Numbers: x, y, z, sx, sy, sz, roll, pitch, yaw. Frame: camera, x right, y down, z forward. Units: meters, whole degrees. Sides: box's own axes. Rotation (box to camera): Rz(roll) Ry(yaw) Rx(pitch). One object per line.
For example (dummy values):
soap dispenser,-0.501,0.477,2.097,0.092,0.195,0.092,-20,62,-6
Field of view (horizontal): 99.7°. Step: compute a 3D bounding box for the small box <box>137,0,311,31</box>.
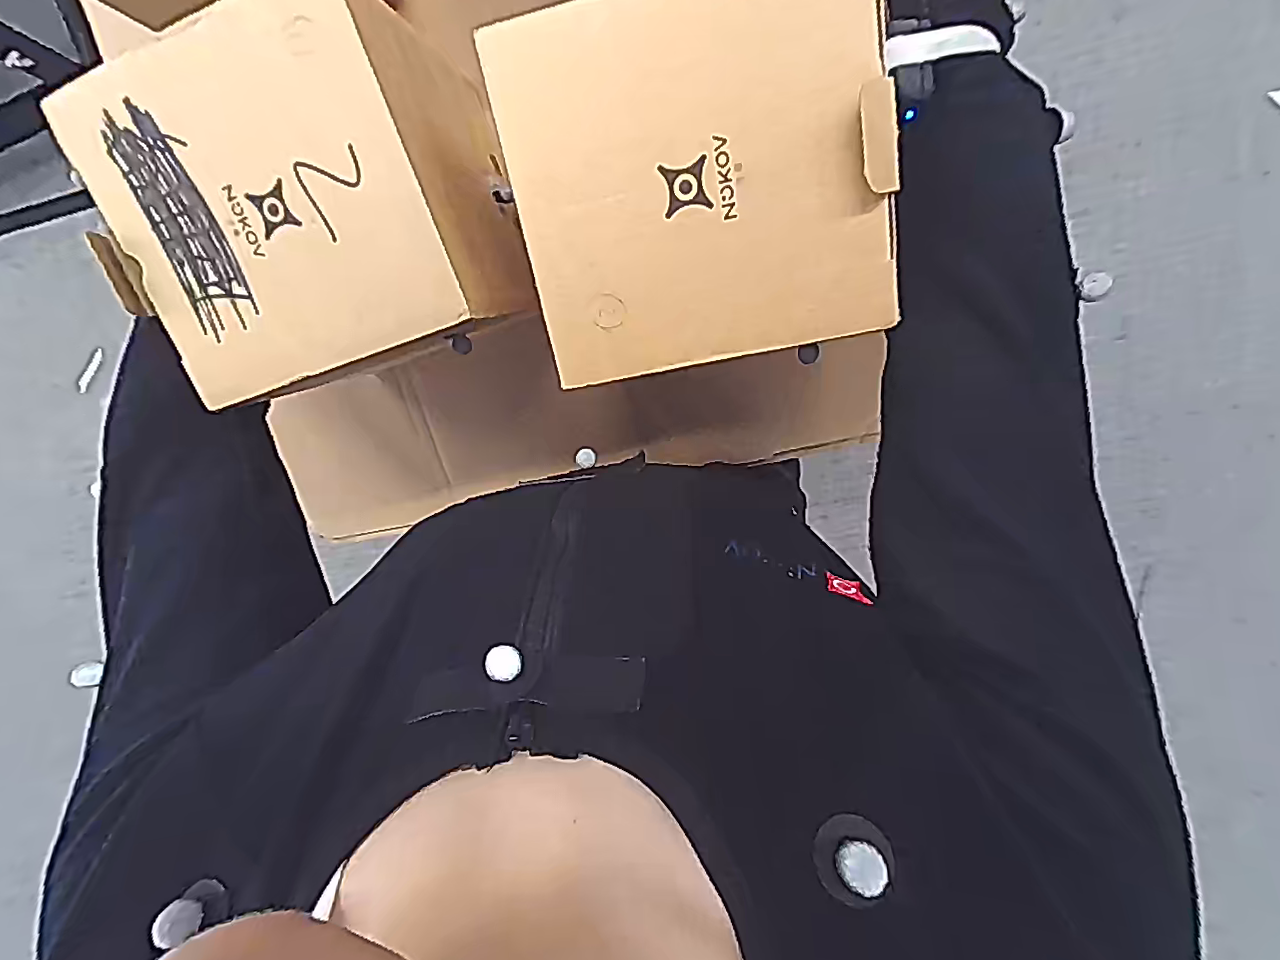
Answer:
small box,-0.275,-0.397,0.298,0.168,0.176,0.179,-12,103,10
